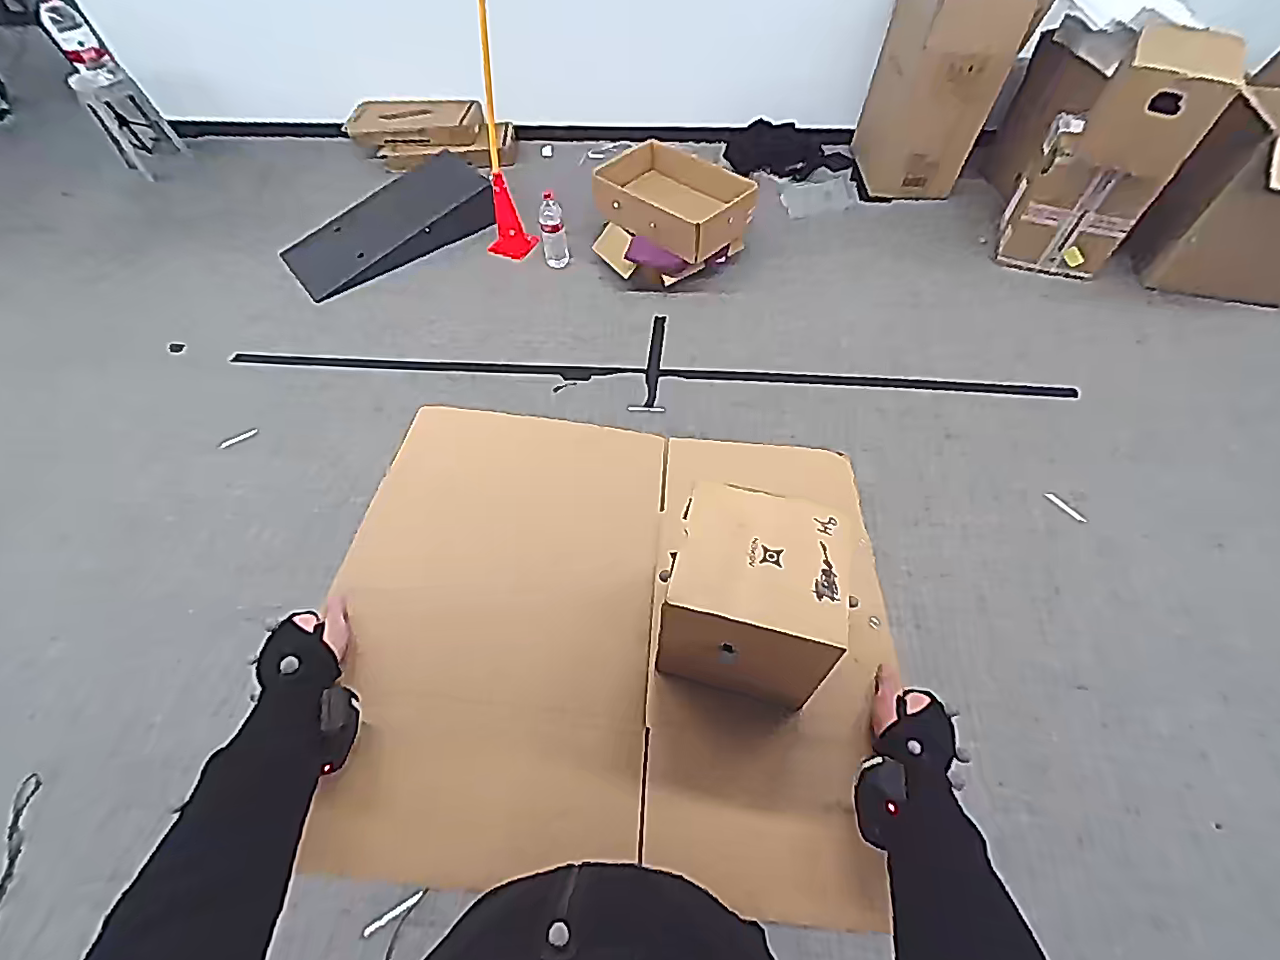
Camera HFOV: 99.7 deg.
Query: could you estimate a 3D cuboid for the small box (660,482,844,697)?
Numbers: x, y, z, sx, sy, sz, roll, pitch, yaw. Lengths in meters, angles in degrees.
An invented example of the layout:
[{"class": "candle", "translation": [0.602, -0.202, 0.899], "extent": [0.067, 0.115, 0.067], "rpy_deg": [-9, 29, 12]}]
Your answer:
[{"class": "small box", "translation": [0.124, 0.129, 0.626], "extent": [0.179, 0.176, 0.168], "rpy_deg": [11, 51, 9]}]
